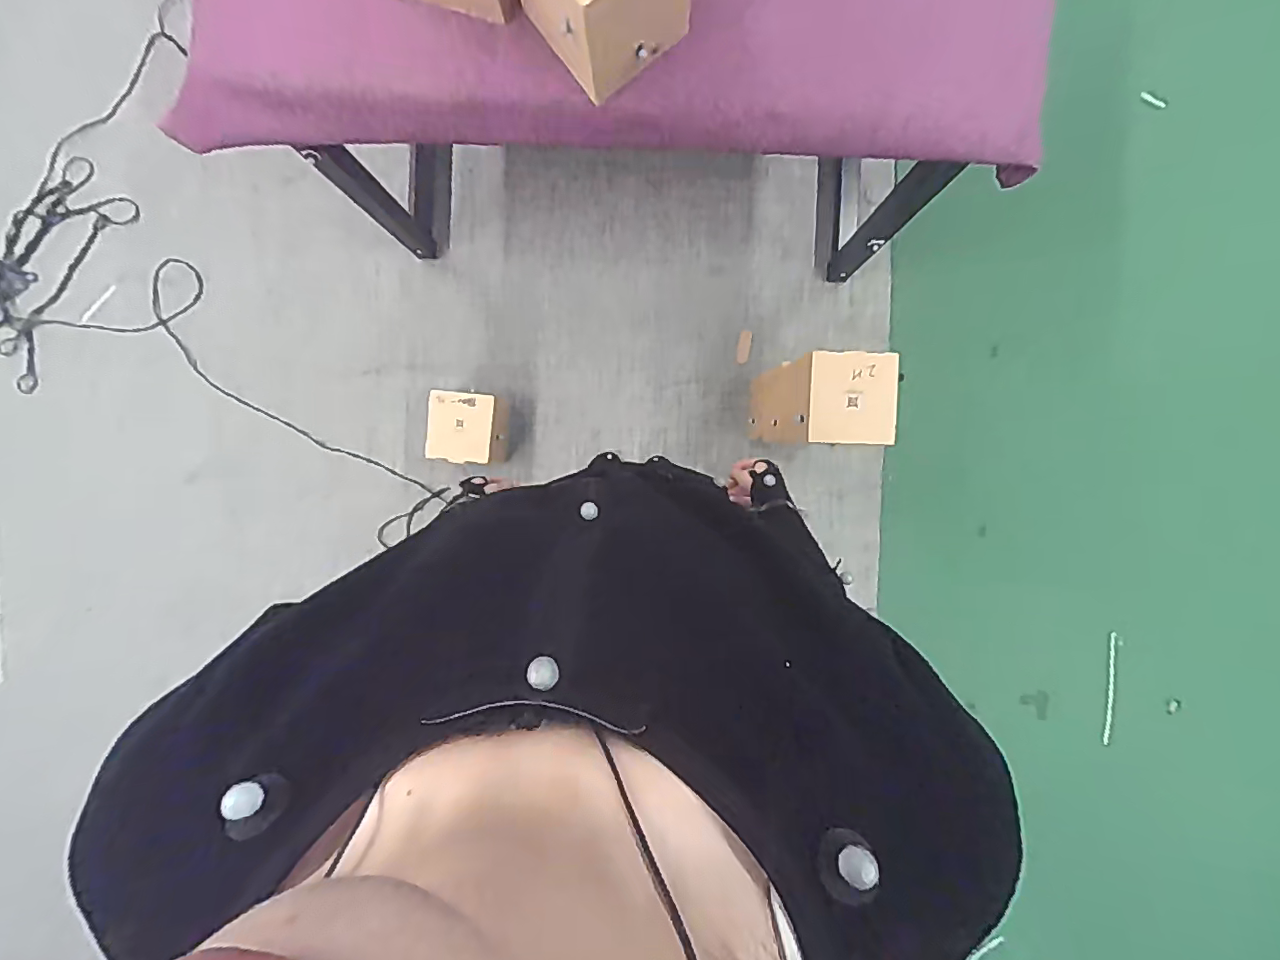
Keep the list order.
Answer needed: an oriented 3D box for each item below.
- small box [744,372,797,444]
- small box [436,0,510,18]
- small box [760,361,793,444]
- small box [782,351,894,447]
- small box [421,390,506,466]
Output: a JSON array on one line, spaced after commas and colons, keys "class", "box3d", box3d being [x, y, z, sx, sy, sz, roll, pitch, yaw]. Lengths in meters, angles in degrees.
[{"class": "small box", "box3d": [0.376, -0.183, 1.423, 0.179, 0.176, 0.168, 4, 92, 0]}, {"class": "small box", "box3d": [-0.255, -0.743, 0.683, 0.179, 0.176, 0.168, 15, 92, -1]}, {"class": "small box", "box3d": [0.380, -0.175, 1.262, 0.168, 0.176, 0.179, 1, 93, 0]}, {"class": "small box", "box3d": [0.393, -0.158, 1.098, 0.168, 0.176, 0.179, 2, 93, 0]}, {"class": "small box", "box3d": [-0.460, -0.133, 1.429, 0.168, 0.176, 0.179, 6, 92, 0]}]
